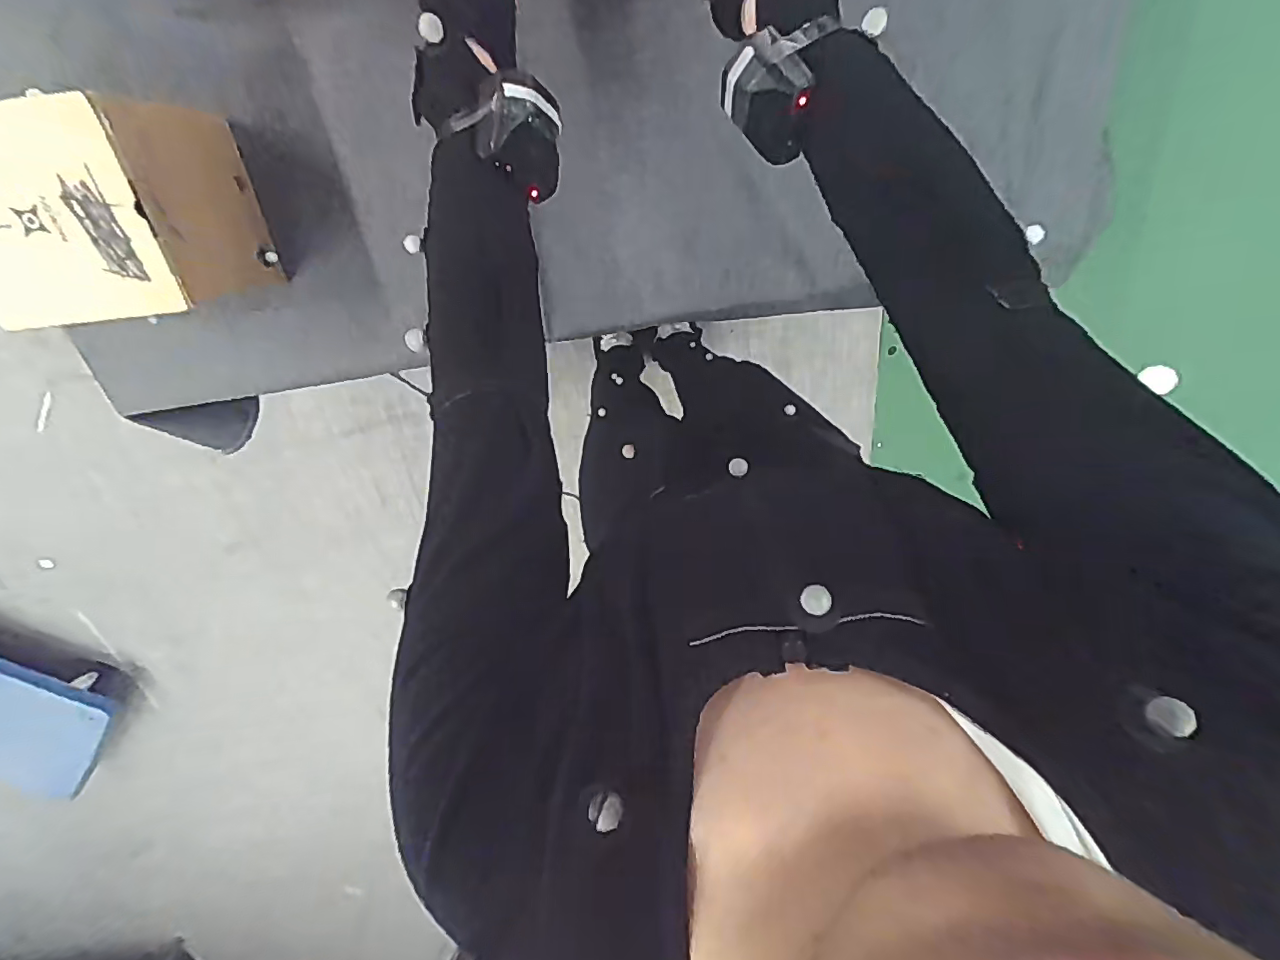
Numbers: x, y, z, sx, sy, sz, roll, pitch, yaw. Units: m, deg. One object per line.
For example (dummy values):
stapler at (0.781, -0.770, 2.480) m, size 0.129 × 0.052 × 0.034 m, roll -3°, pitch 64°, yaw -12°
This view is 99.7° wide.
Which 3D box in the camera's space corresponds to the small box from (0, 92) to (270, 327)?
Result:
small box at (-0.498, -0.253, 0.517) m, size 0.179 × 0.176 × 0.168 m, roll -6°, pitch 117°, yaw 1°
